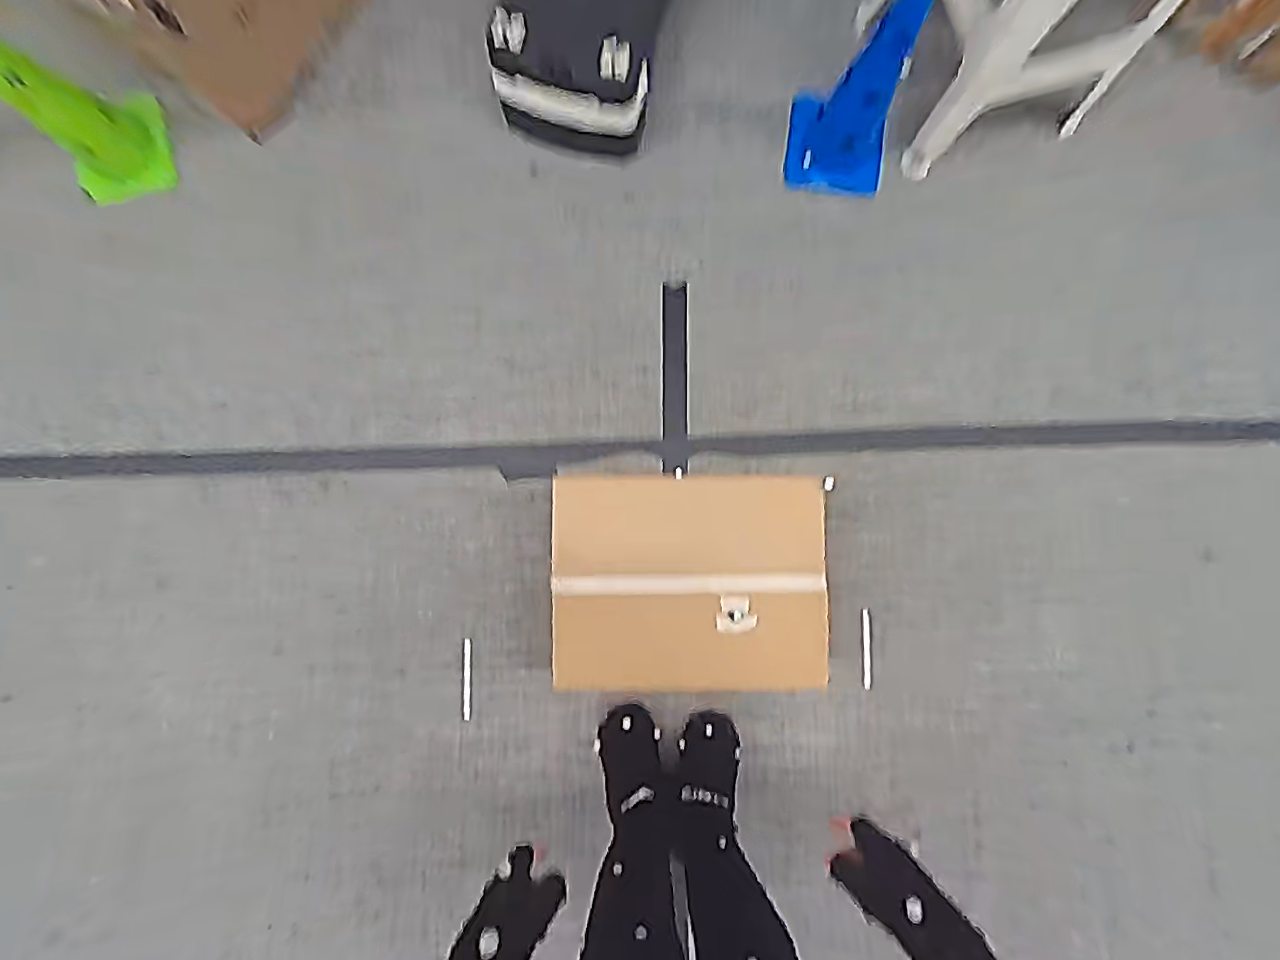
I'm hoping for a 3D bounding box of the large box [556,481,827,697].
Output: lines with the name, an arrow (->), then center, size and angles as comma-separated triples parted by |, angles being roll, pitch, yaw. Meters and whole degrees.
large box -> 0.071, 0.170, 0.955 | 0.408, 0.320, 0.320 | -1, 87, -1
